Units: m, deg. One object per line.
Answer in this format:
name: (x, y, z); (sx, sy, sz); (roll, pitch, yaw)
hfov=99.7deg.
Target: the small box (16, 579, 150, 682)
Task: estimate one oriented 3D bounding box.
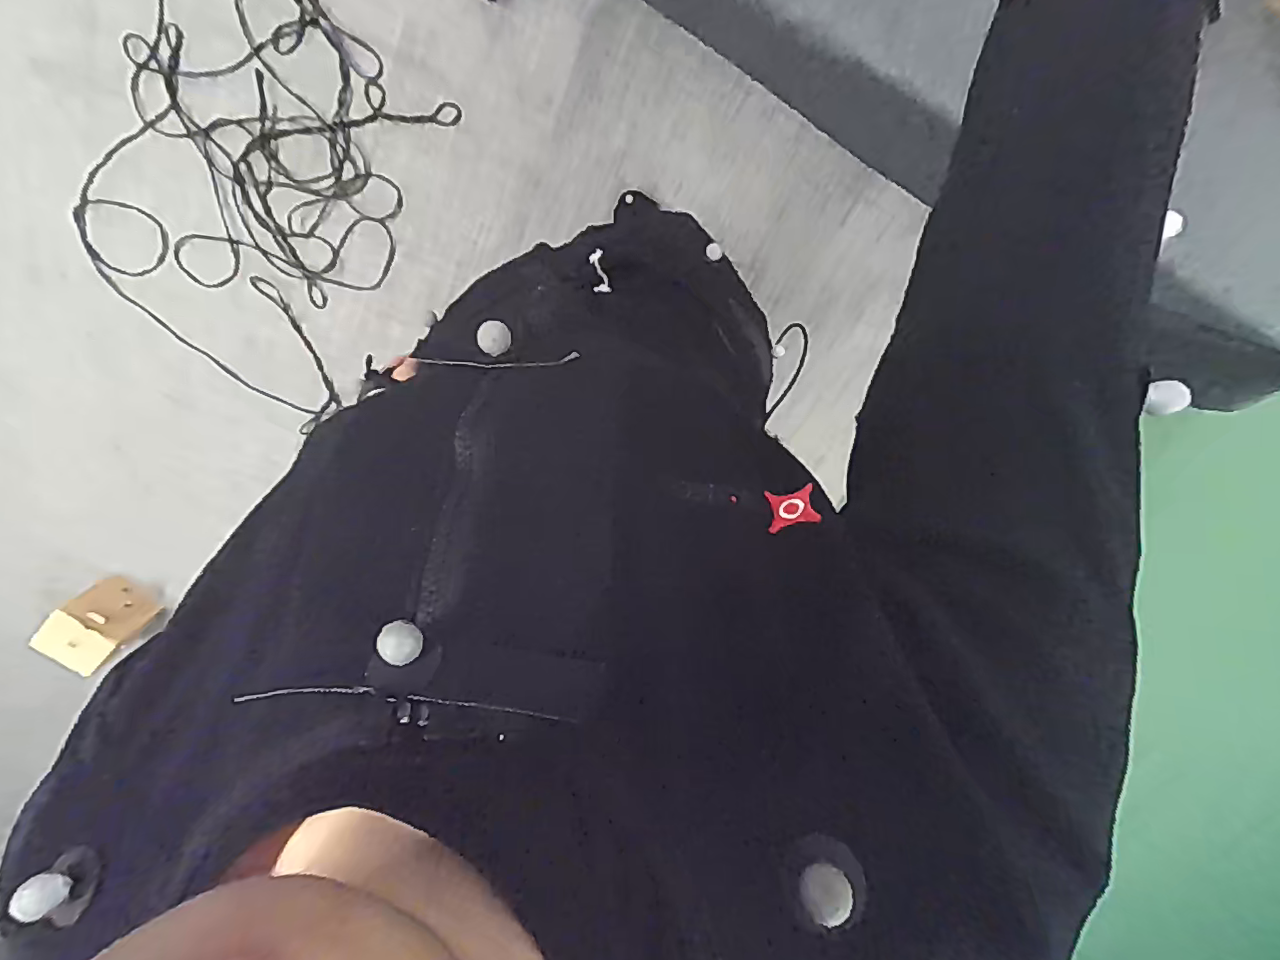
small box: (-1.526, 0.411, 1.495); (0.179, 0.176, 0.168); (-40, 108, 15)
